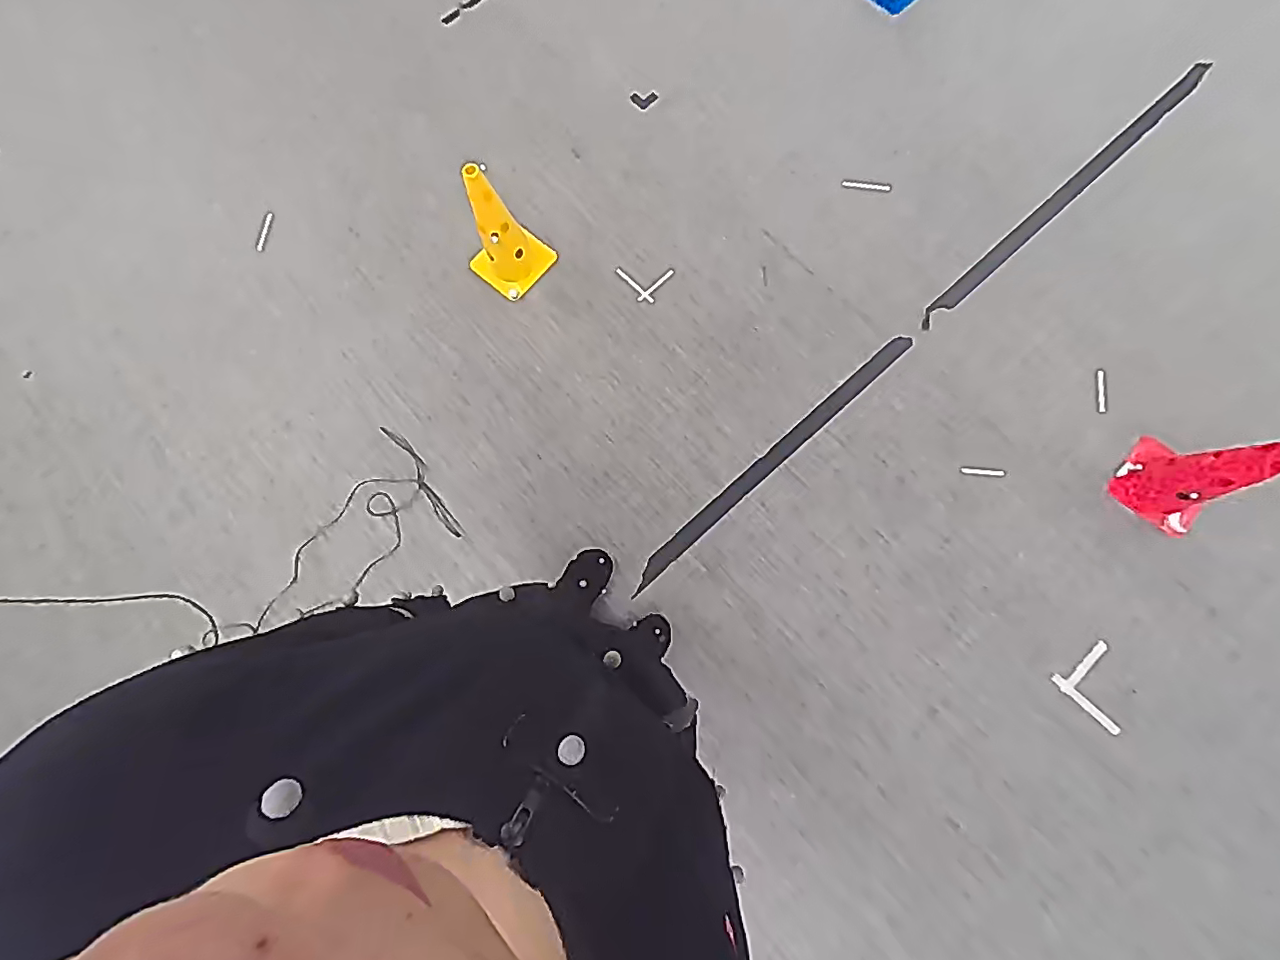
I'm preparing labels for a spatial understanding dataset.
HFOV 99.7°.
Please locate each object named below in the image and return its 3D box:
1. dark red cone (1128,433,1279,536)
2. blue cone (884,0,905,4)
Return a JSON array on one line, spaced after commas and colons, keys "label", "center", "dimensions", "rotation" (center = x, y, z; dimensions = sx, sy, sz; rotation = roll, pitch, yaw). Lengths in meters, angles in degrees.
[{"label": "dark red cone", "center": [1.301, -0.026, 1.149], "dimensions": [0.201, 0.394, 0.202], "rotation": [39, 82, 12]}, {"label": "blue cone", "center": [0.802, -1.658, 1.581], "dimensions": [0.193, 0.380, 0.192], "rotation": [-41, 77, -6]}]
